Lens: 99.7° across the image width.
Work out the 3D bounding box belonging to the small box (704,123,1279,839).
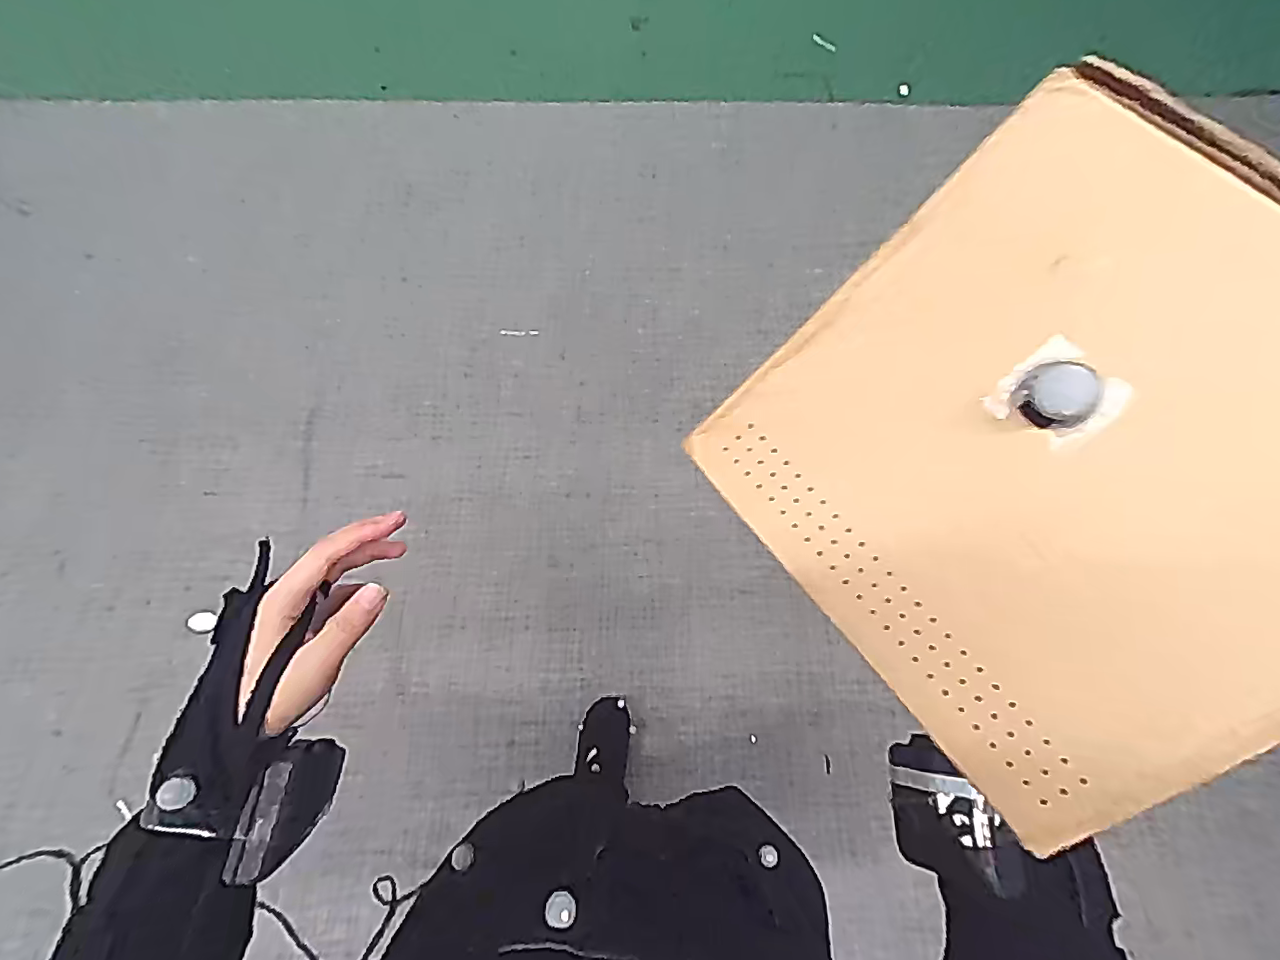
[{"bbox_3d":[0.158,0.003,0.241,0.176,0.168,0.179,-47,72,19],"label":"small box"}]
